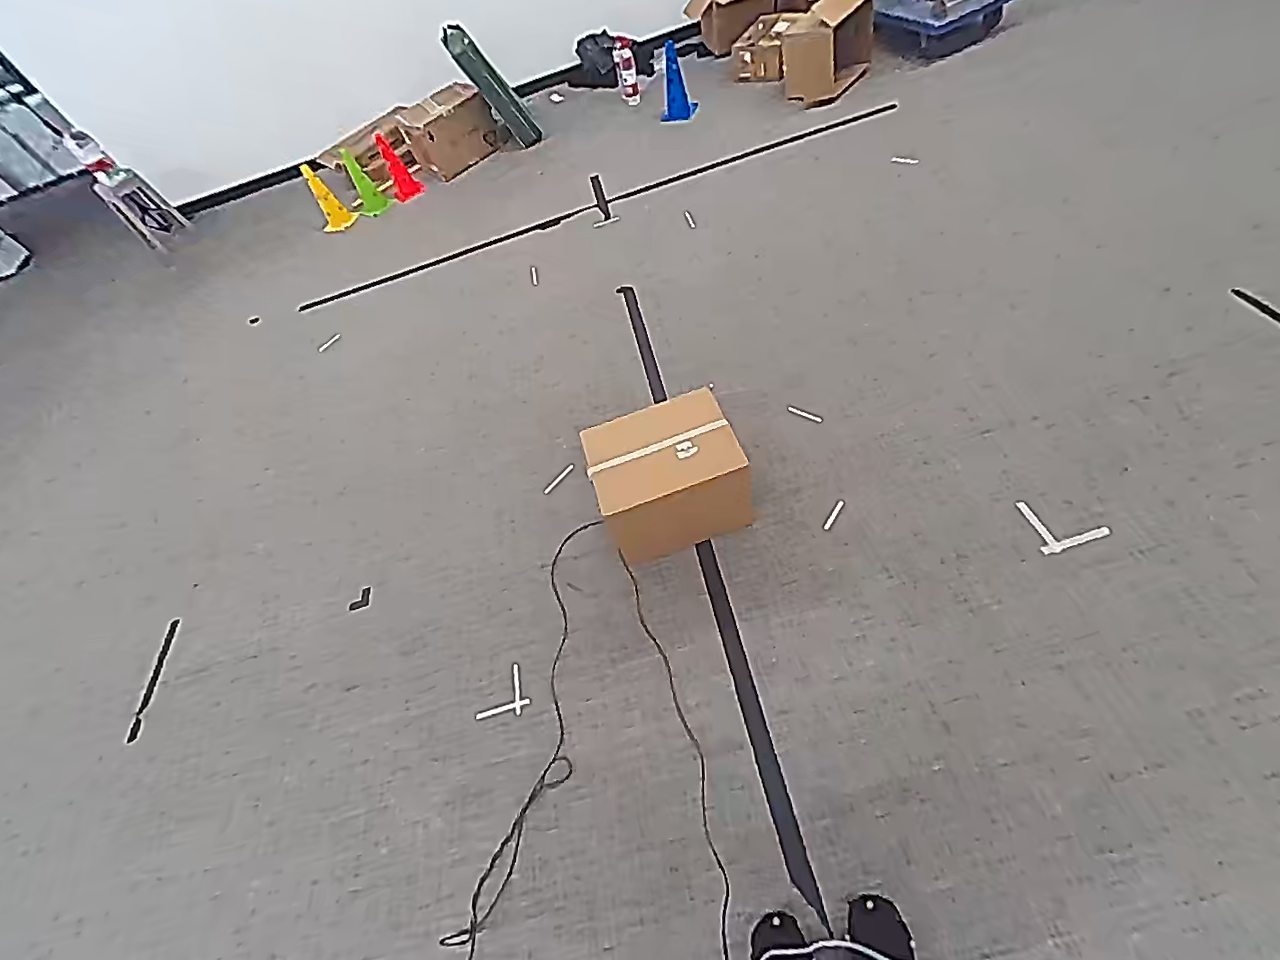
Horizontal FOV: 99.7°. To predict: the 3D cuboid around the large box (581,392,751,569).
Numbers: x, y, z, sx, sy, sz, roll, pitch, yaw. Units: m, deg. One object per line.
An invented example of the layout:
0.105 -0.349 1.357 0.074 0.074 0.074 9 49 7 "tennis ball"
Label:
0.082 0.009 1.599 0.408 0.320 0.320 -19 54 0 "large box"
